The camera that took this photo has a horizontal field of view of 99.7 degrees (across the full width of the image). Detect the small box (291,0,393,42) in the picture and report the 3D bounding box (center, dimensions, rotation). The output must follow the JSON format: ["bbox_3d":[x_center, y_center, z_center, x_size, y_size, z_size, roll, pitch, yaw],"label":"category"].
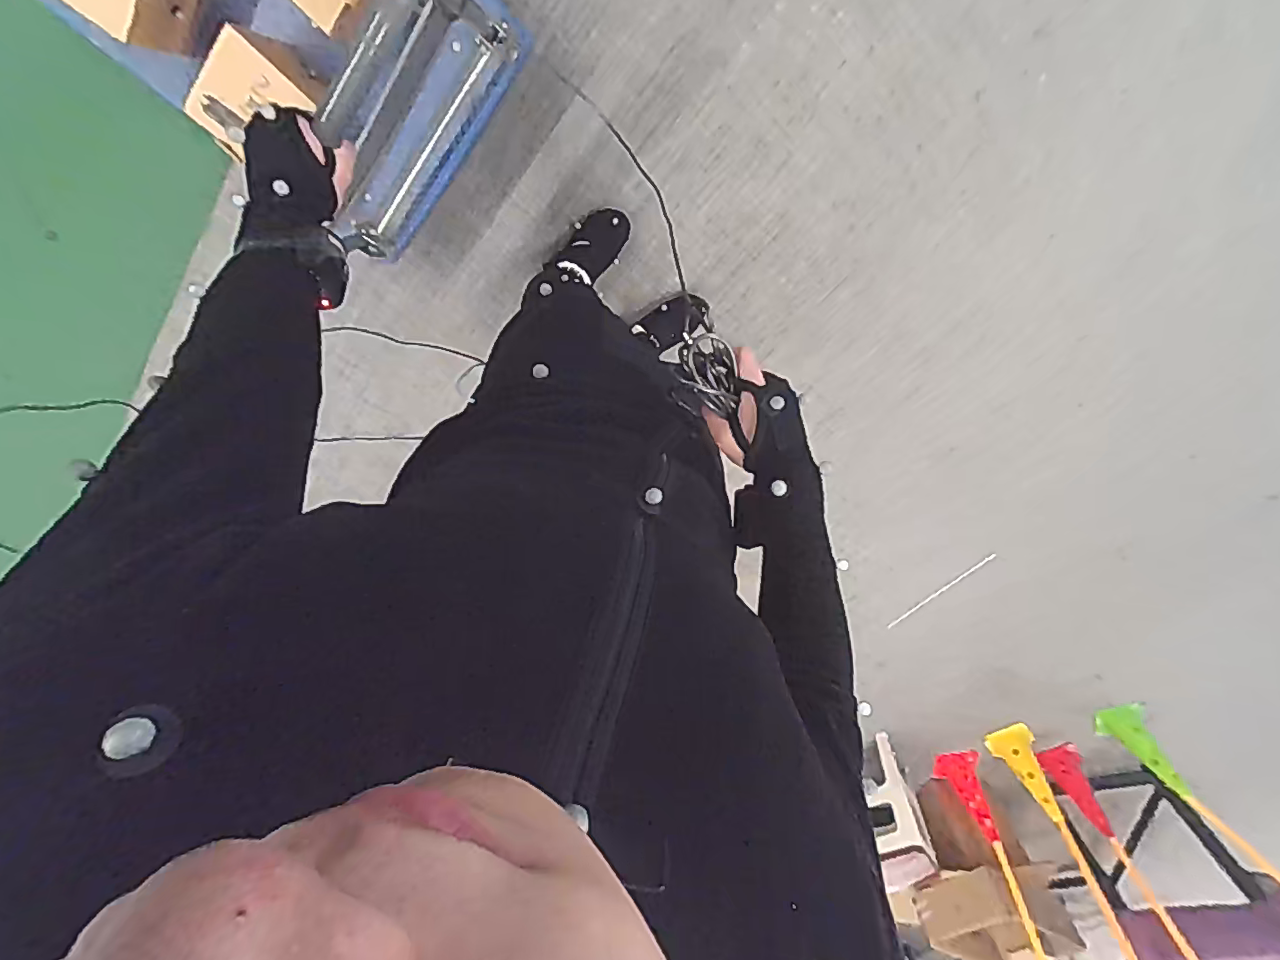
[{"bbox_3d":[-0.528,-0.880,0.900,0.179,0.176,0.168,38,114,-24],"label":"small box"}]

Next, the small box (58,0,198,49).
[{"bbox_3d":[-0.879,-0.862,0.899,0.179,0.176,0.168,34,114,-21],"label":"small box"}]
